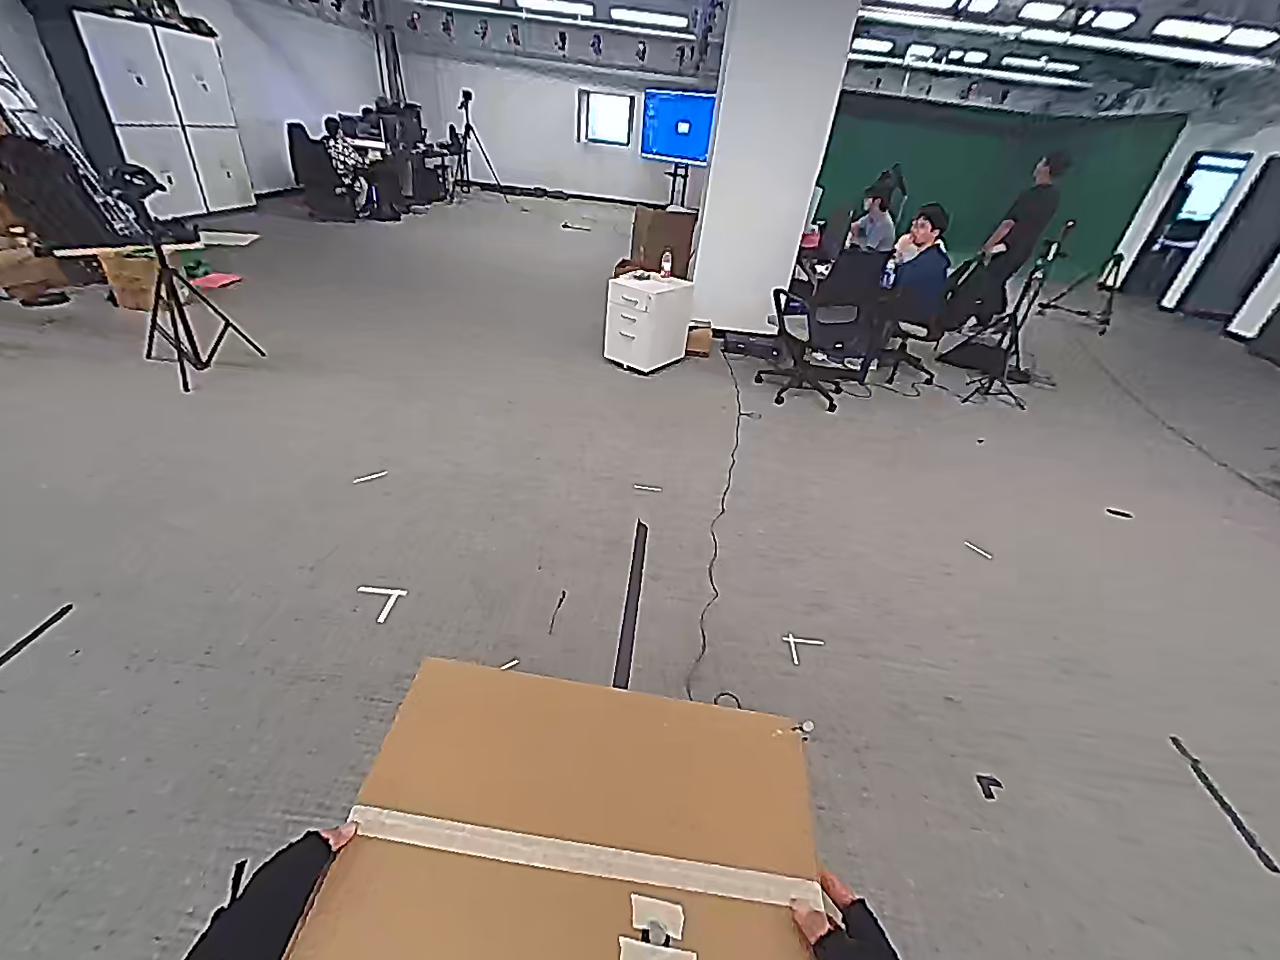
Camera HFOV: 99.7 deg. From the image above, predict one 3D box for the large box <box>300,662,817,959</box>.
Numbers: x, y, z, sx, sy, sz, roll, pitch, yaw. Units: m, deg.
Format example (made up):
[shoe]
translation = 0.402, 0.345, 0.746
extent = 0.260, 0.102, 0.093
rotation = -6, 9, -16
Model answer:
[large box]
translation = -0.065, 0.436, 0.569
extent = 0.408, 0.320, 0.320
rotation = 10, 41, 1
